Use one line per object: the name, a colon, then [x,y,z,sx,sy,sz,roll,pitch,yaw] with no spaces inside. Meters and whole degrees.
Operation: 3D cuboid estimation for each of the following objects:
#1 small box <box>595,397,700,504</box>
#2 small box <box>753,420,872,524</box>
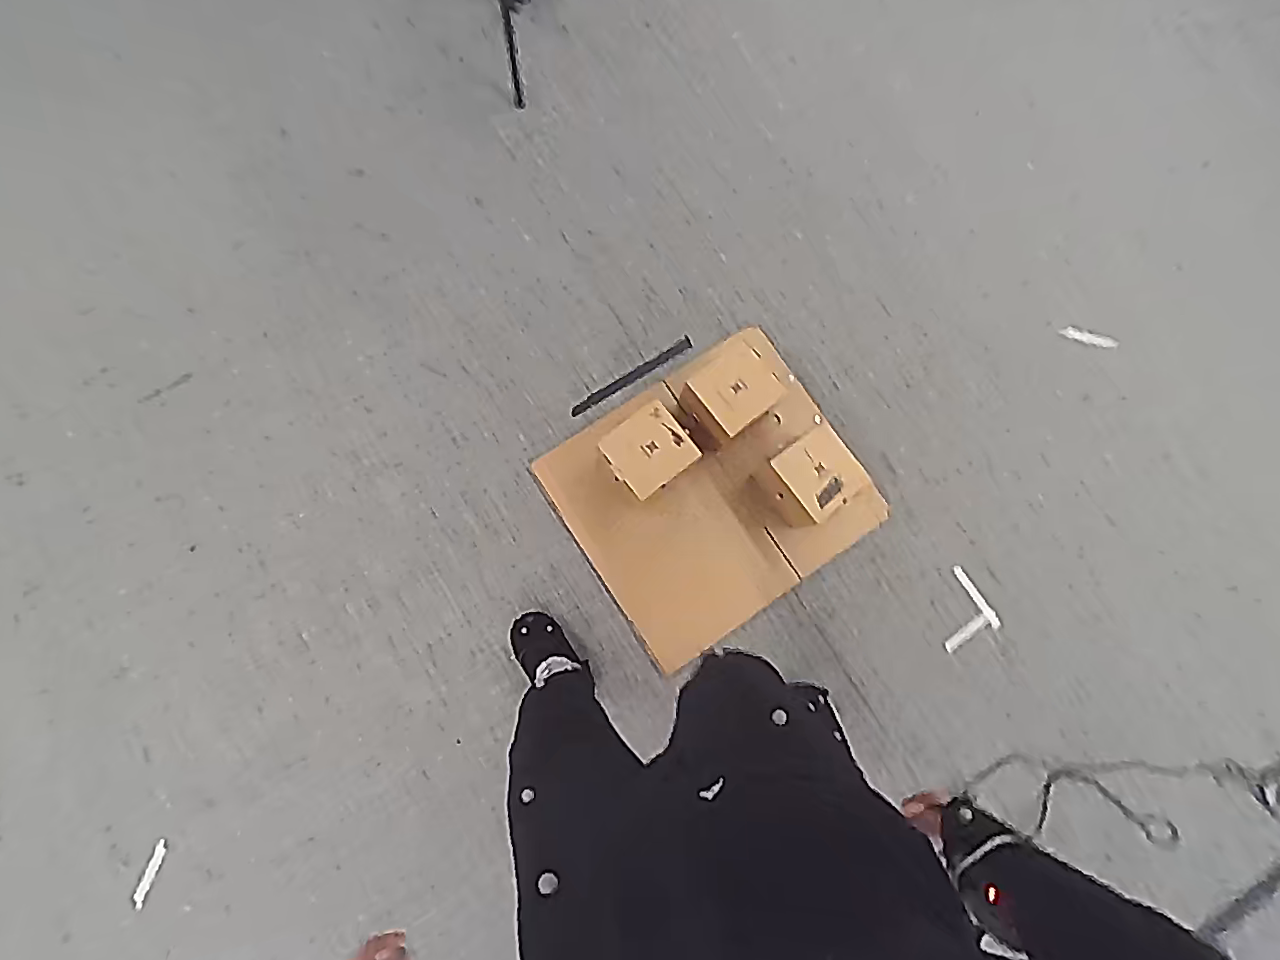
small box: [0.016,-0.059,1.254,0.179,0.176,0.168,-37,86,-6]
small box: [0.396,-0.011,1.271,0.168,0.176,0.179,-37,85,-8]
